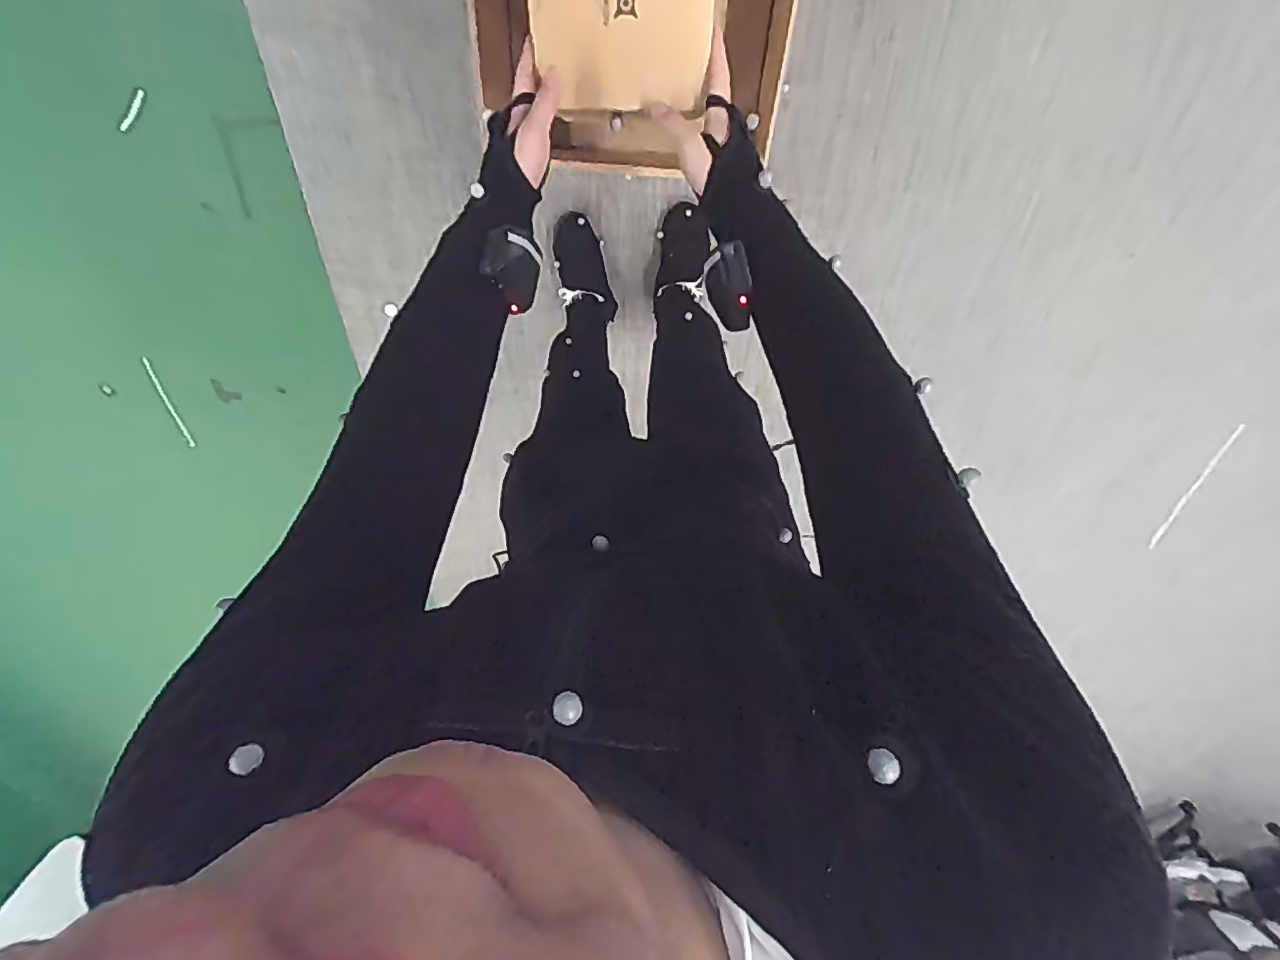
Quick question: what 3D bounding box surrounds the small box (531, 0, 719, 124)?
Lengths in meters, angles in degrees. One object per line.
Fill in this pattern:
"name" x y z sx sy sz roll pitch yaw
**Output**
"small box" -0.008 -0.475 0.564 0.179 0.176 0.168 3 121 4
